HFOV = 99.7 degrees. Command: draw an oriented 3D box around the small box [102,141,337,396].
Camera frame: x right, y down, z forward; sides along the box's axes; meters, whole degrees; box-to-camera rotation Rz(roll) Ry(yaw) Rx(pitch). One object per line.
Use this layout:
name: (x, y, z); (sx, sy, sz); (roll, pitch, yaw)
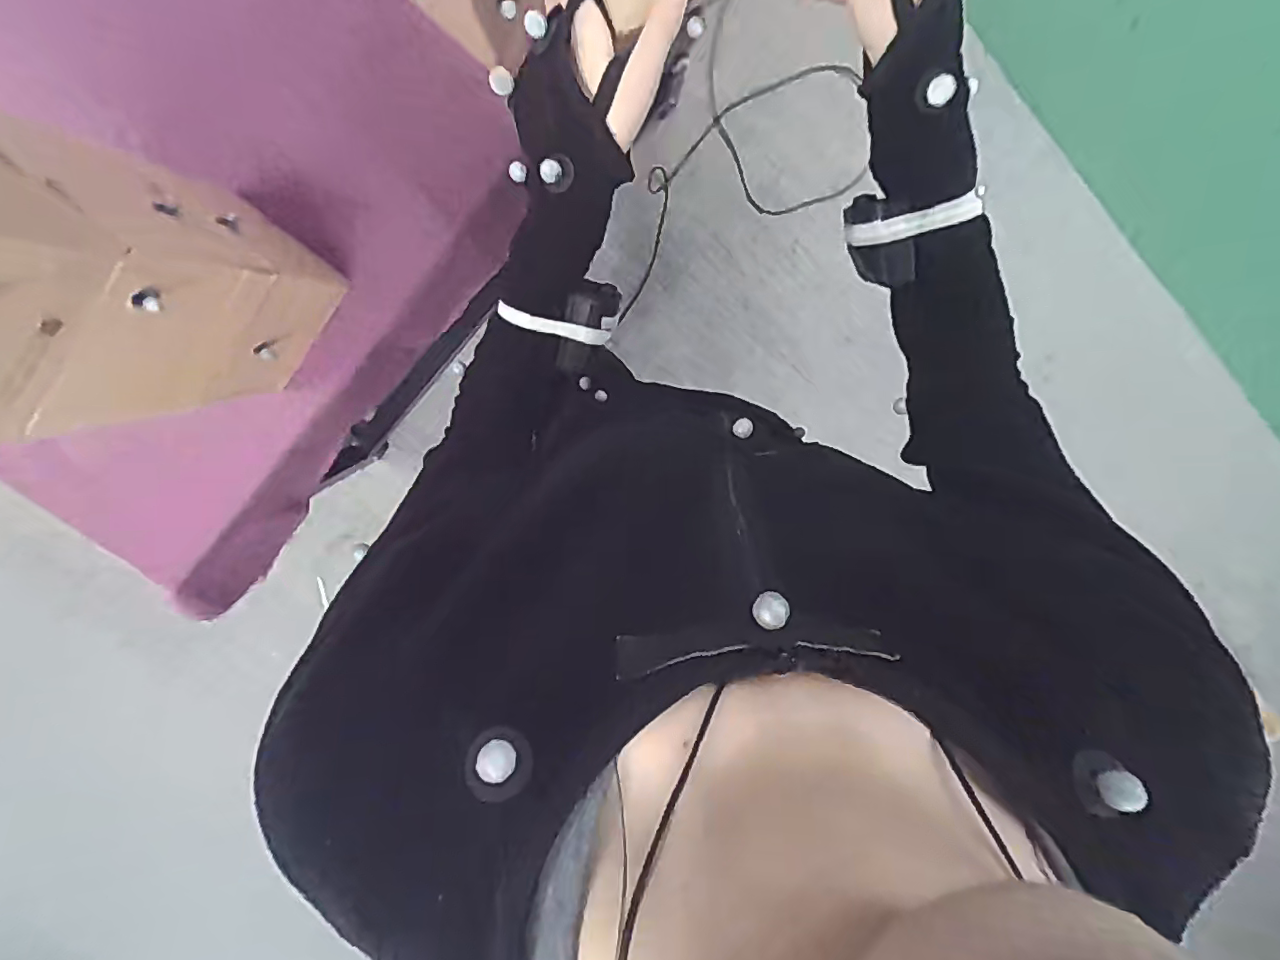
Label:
small box: (-0.478, -0.213, 0.593); (0.168, 0.176, 0.179); (39, 100, -11)

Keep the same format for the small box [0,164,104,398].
small box: (-0.460, -0.131, 0.280); (0.179, 0.176, 0.168); (42, 97, -11)
